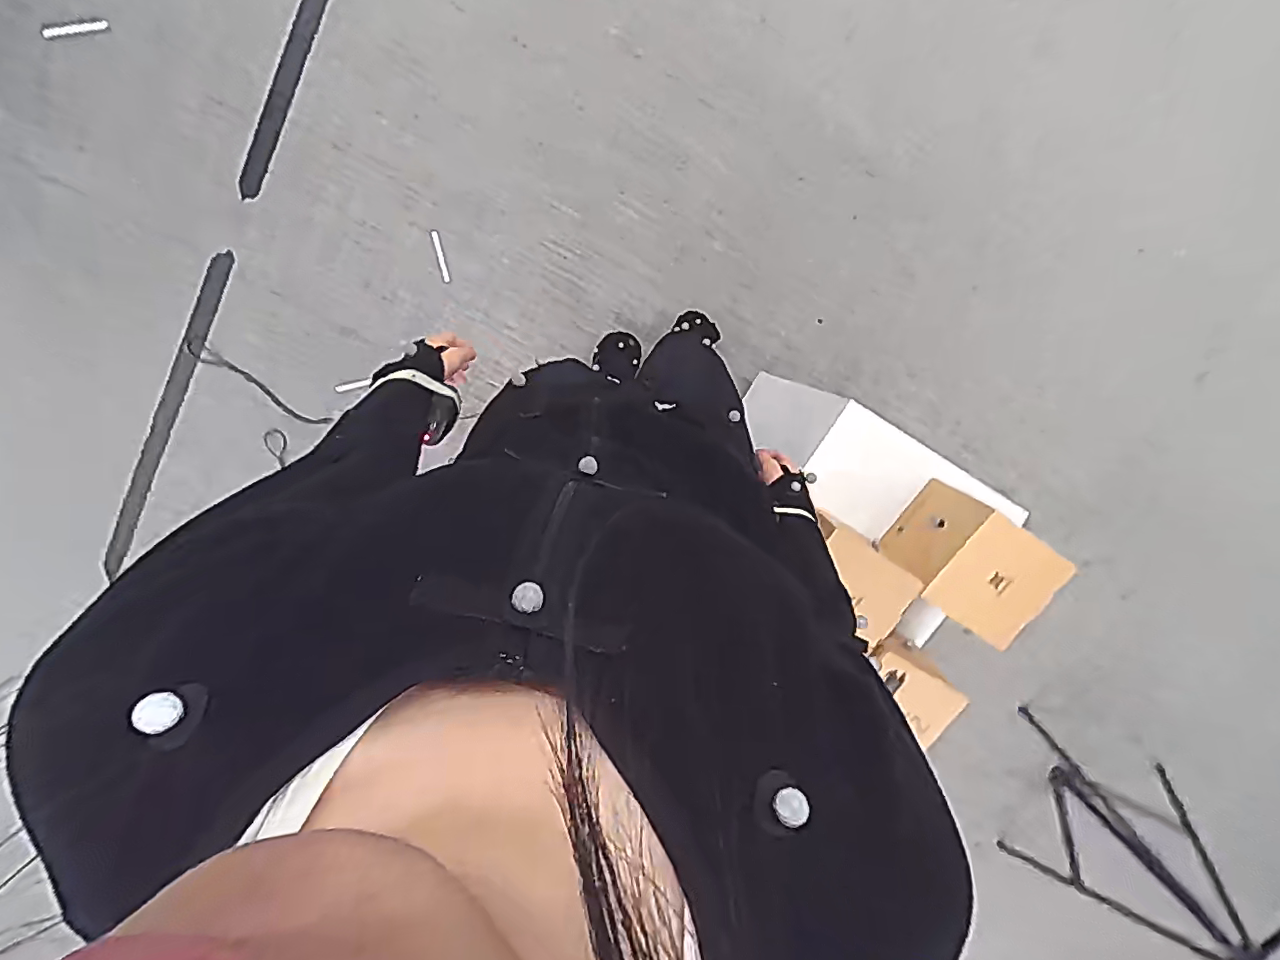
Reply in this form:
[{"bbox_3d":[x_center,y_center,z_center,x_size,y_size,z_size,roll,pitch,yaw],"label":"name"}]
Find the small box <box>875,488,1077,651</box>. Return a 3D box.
[{"bbox_3d":[0.519,0.130,0.865,0.179,0.176,0.168,33,102,-11],"label":"small box"}]
